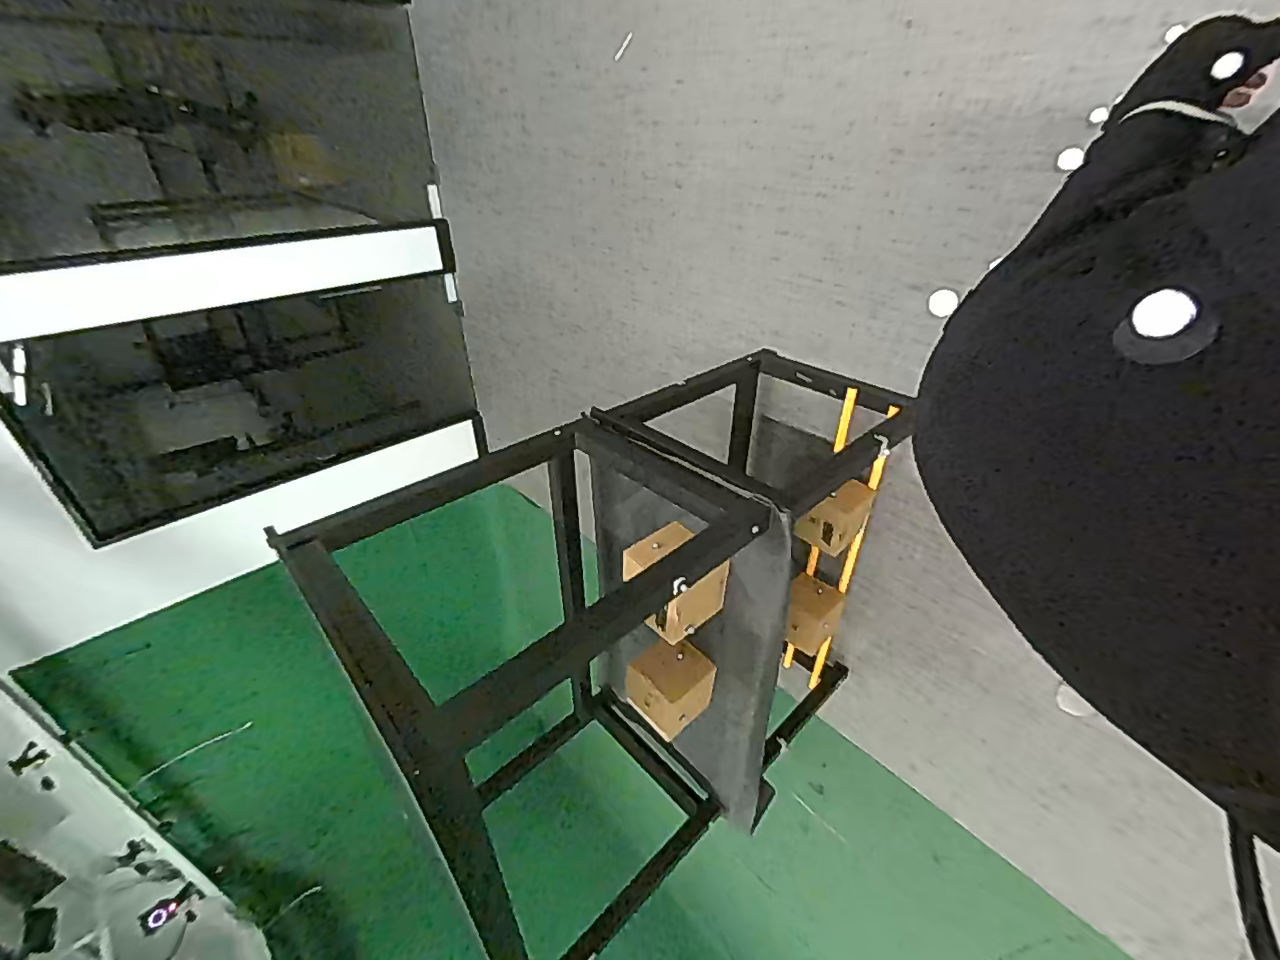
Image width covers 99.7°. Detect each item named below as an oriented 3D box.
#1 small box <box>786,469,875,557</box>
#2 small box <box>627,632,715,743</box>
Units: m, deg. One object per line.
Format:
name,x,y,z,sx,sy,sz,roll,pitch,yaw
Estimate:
small box,0.567,0.090,1.611,0.179,0.176,0.168,33,135,35
small box,0.082,0.546,1.438,0.168,0.176,0.179,33,135,35
